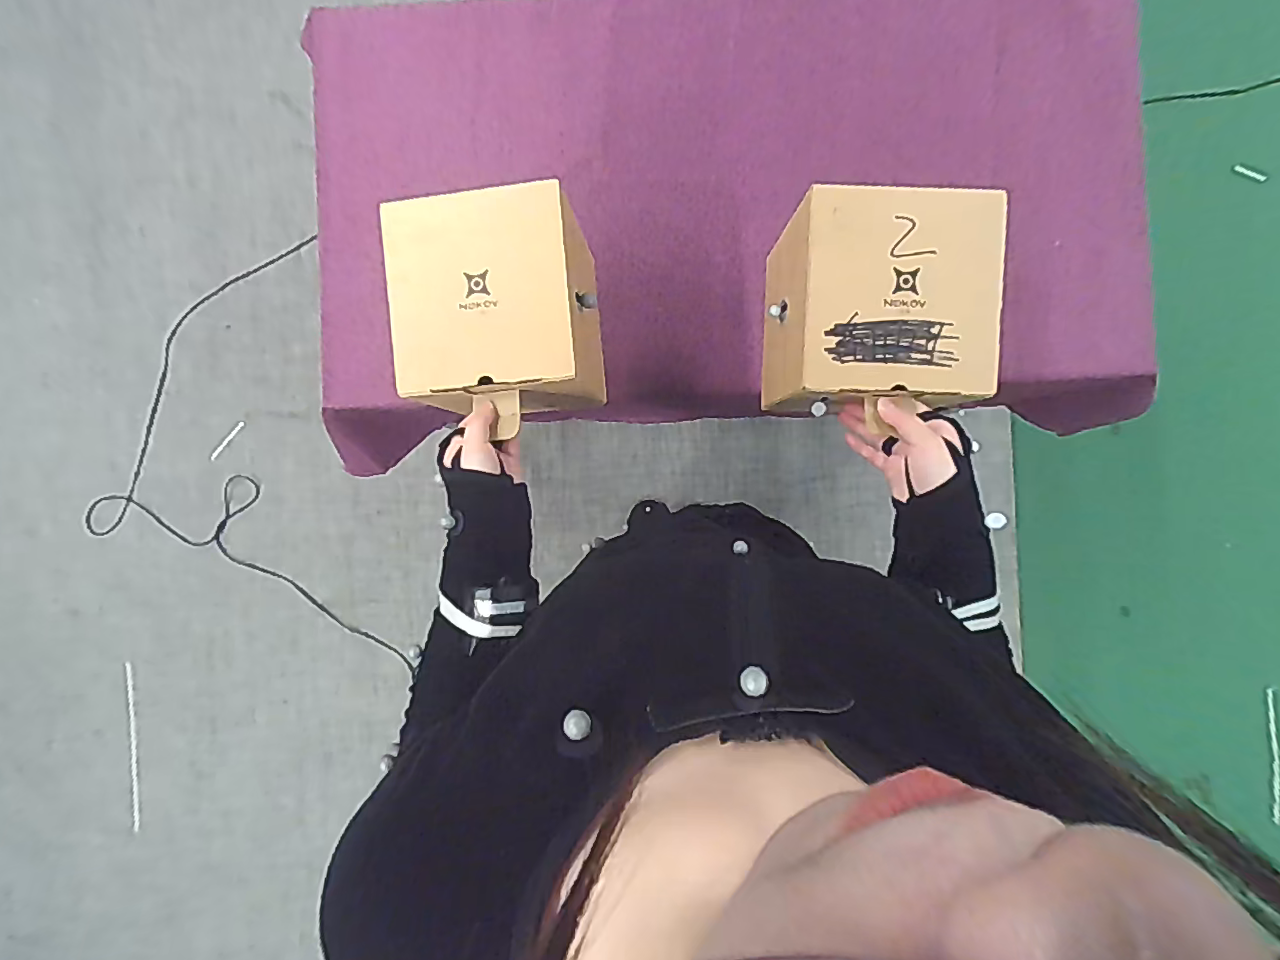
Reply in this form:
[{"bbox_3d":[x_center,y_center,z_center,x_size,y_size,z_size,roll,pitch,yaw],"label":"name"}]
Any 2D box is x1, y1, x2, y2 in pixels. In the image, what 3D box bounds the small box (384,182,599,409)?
[{"bbox_3d":[-0.141,-0.176,0.570,0.168,0.176,0.179,-5,92,5],"label":"small box"}]
